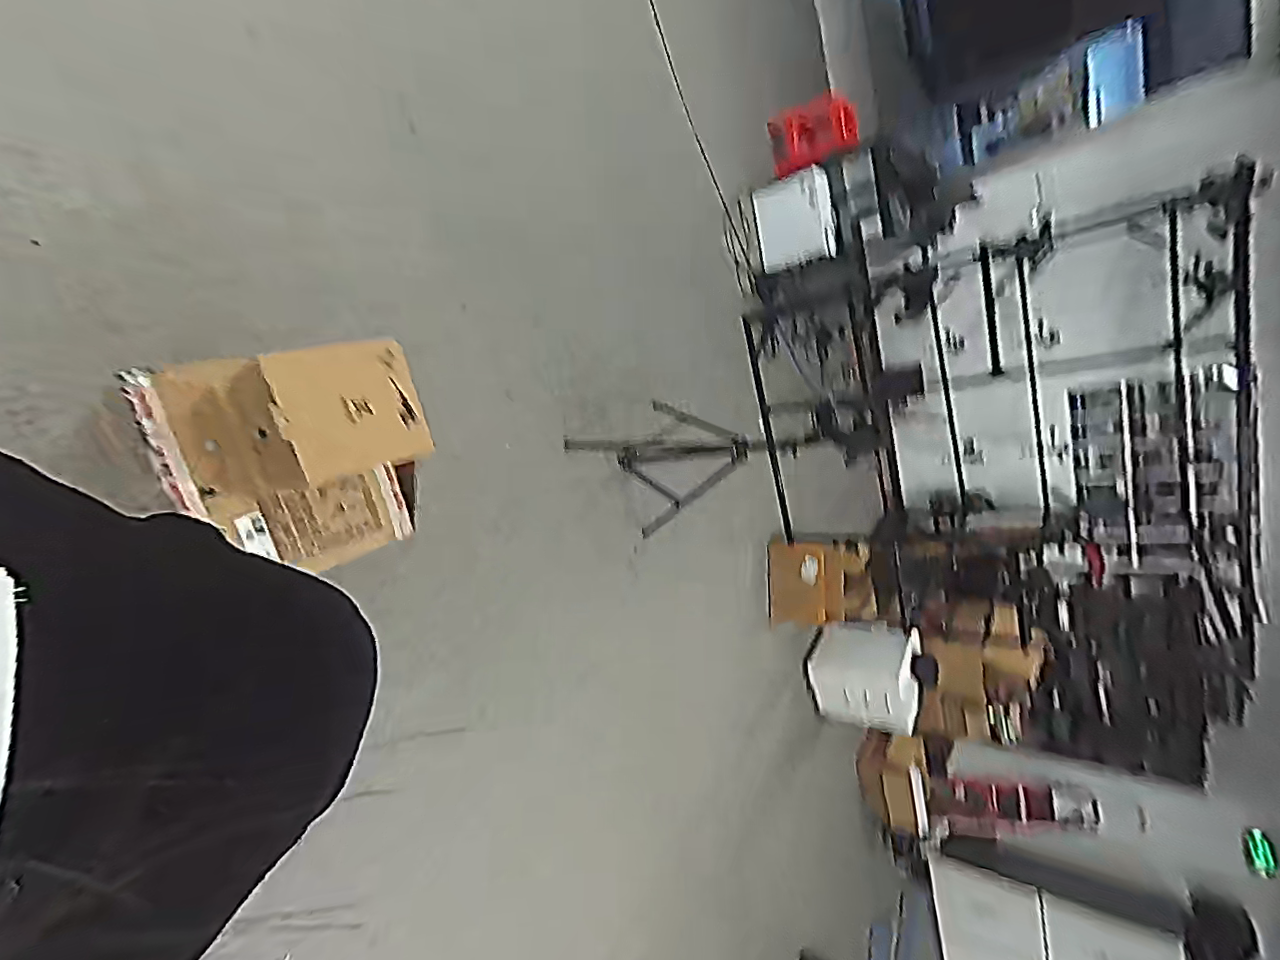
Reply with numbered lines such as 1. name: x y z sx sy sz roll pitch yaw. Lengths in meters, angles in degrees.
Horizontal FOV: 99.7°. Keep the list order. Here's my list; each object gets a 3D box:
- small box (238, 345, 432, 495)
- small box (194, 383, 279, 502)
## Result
1. small box: -0.431 -0.080 0.757 0.179 0.176 0.168 -25 105 -45
2. small box: -0.561 -0.070 0.857 0.179 0.176 0.168 -27 106 -44
